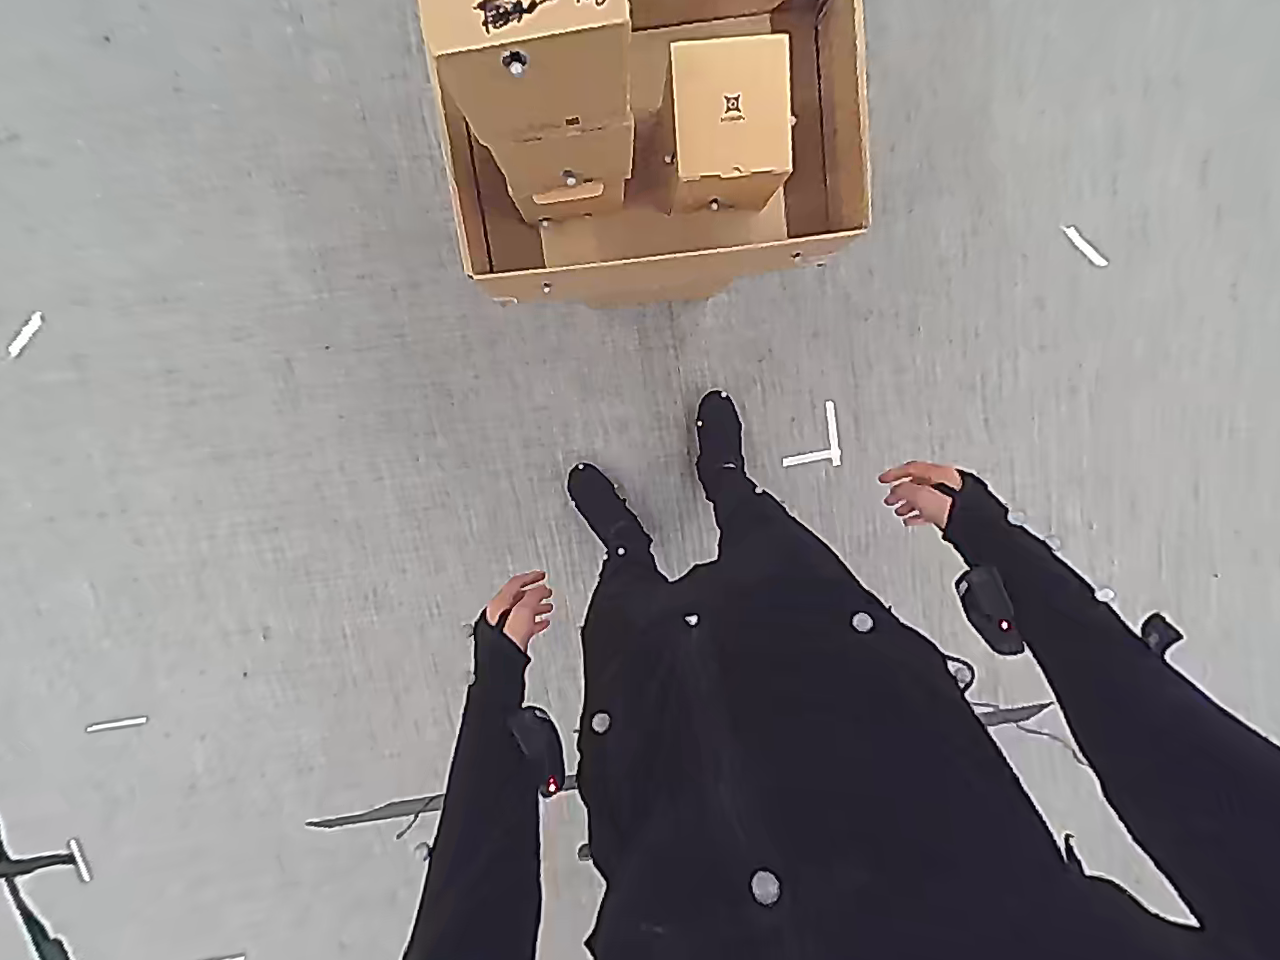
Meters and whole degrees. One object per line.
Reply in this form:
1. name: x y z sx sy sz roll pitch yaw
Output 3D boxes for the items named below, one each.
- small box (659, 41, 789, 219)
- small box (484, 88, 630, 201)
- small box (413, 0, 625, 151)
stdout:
1. small box: 0.121 -0.524 0.832 0.168 0.176 0.179 -5 101 -1
2. small box: -0.109 -0.473 0.663 0.168 0.176 0.179 -10 100 0
3. small box: -0.109 -0.445 0.500 0.168 0.176 0.179 -10 99 0
